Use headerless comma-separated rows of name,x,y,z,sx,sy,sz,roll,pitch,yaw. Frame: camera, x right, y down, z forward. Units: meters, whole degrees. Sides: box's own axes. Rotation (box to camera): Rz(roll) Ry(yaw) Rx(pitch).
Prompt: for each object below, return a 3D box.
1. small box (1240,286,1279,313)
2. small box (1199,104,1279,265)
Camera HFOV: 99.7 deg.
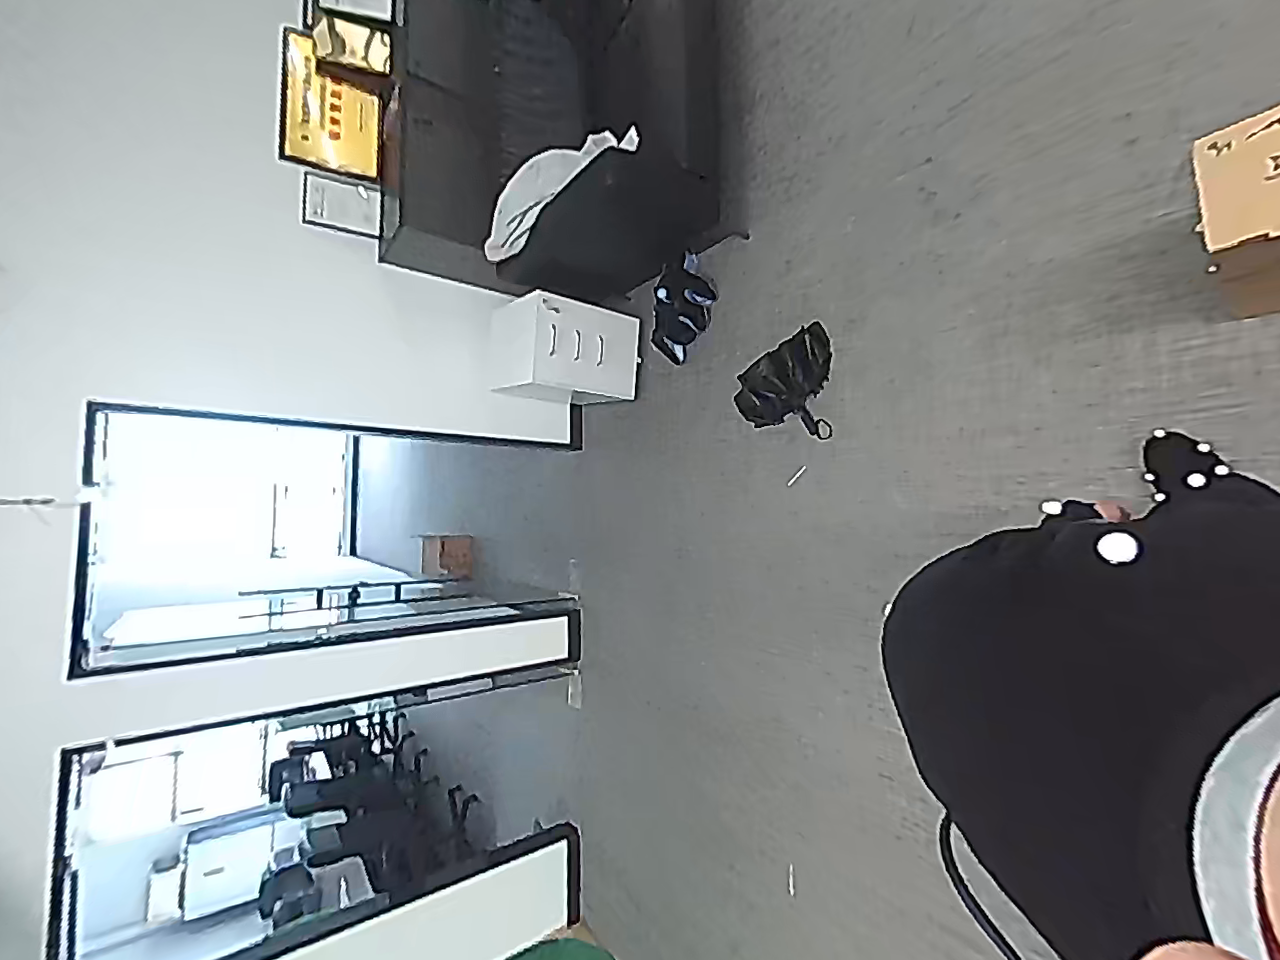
small box,1.202,-0.421,0.967,0.168,0.176,0.179,-5,85,54
small box,0.942,-0.427,0.773,0.168,0.176,0.179,-10,82,53
